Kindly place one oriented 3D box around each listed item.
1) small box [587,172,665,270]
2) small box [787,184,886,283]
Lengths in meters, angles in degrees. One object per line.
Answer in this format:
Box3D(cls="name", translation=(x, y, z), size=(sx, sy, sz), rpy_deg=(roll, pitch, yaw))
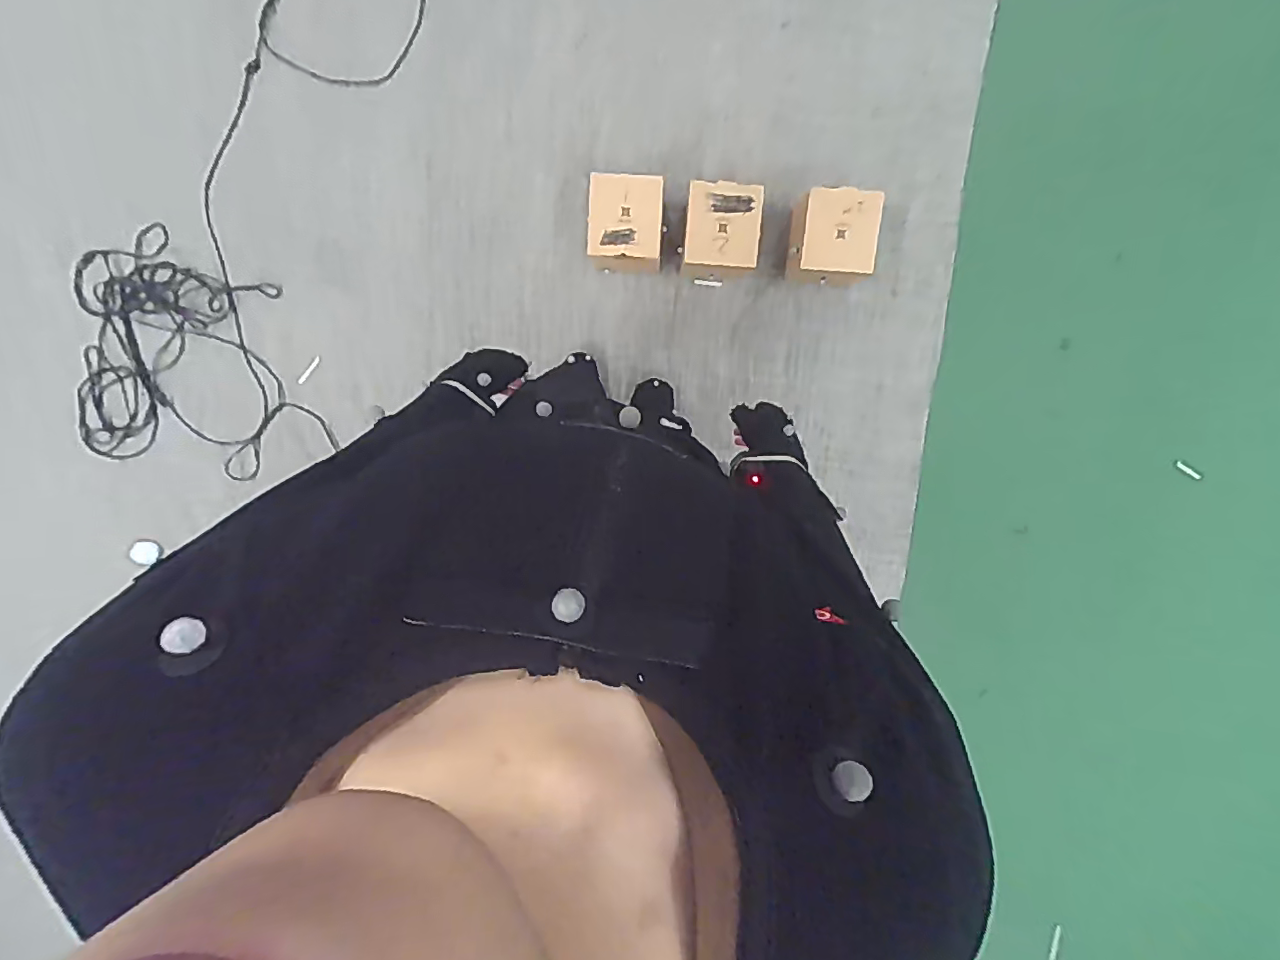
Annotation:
Box3D(cls="small box", translation=(-0.030, -0.603, 1.279), size=(0.168, 0.176, 0.179), rpy_deg=(4, 100, 2))
Box3D(cls="small box", translation=(0.450, -0.568, 1.269), size=(0.168, 0.176, 0.179), rpy_deg=(4, 101, 1))
